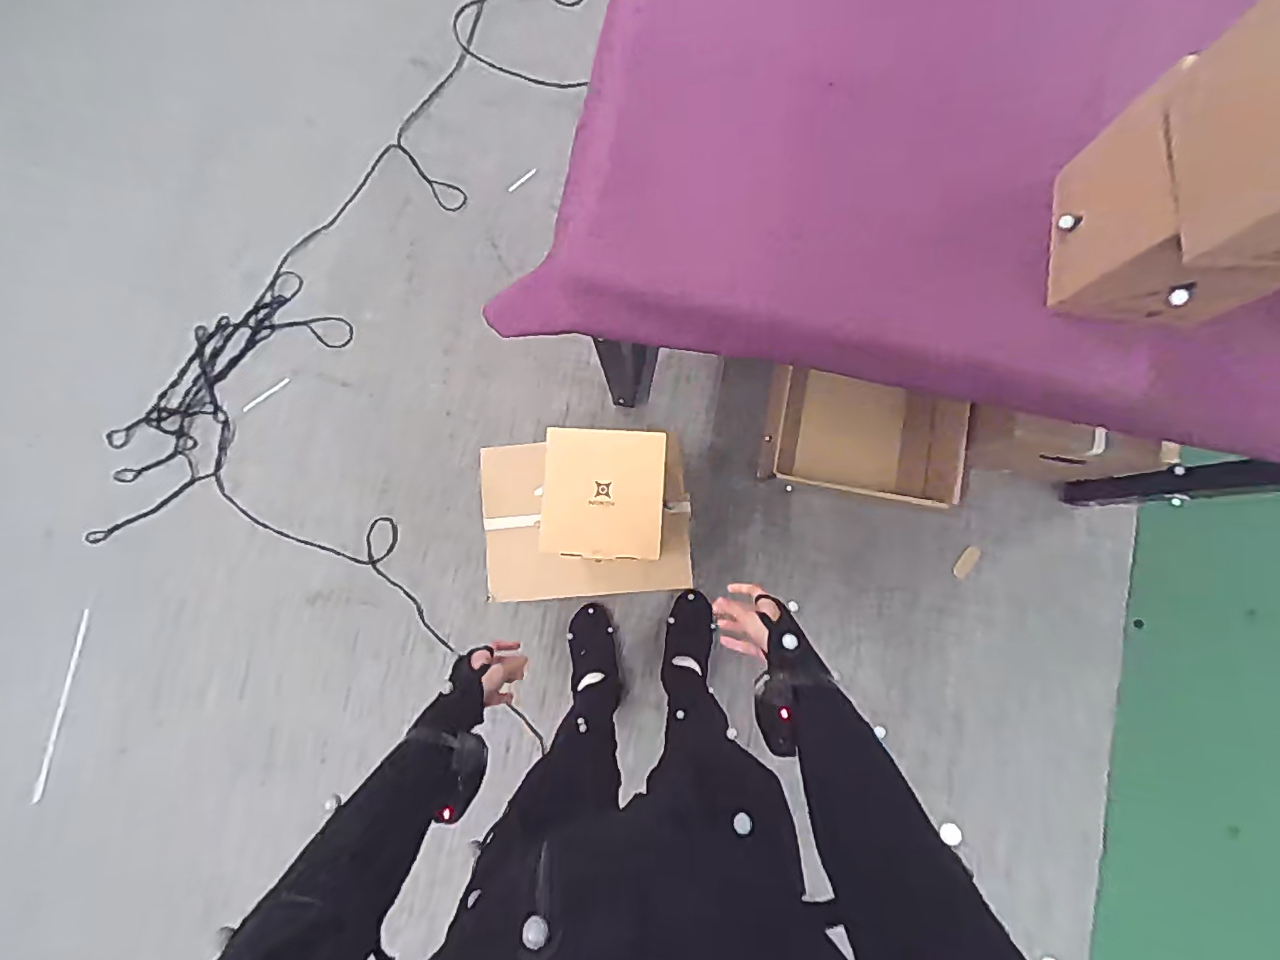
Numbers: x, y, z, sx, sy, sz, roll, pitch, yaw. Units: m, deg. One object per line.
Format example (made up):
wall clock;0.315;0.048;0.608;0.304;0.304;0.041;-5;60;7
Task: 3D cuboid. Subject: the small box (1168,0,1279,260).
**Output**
small box;0.550;-0.287;0.400;0.168;0.176;0.179;1;83;3

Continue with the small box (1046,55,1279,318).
small box;0.566;-0.288;0.566;0.168;0.176;0.179;8;83;3
